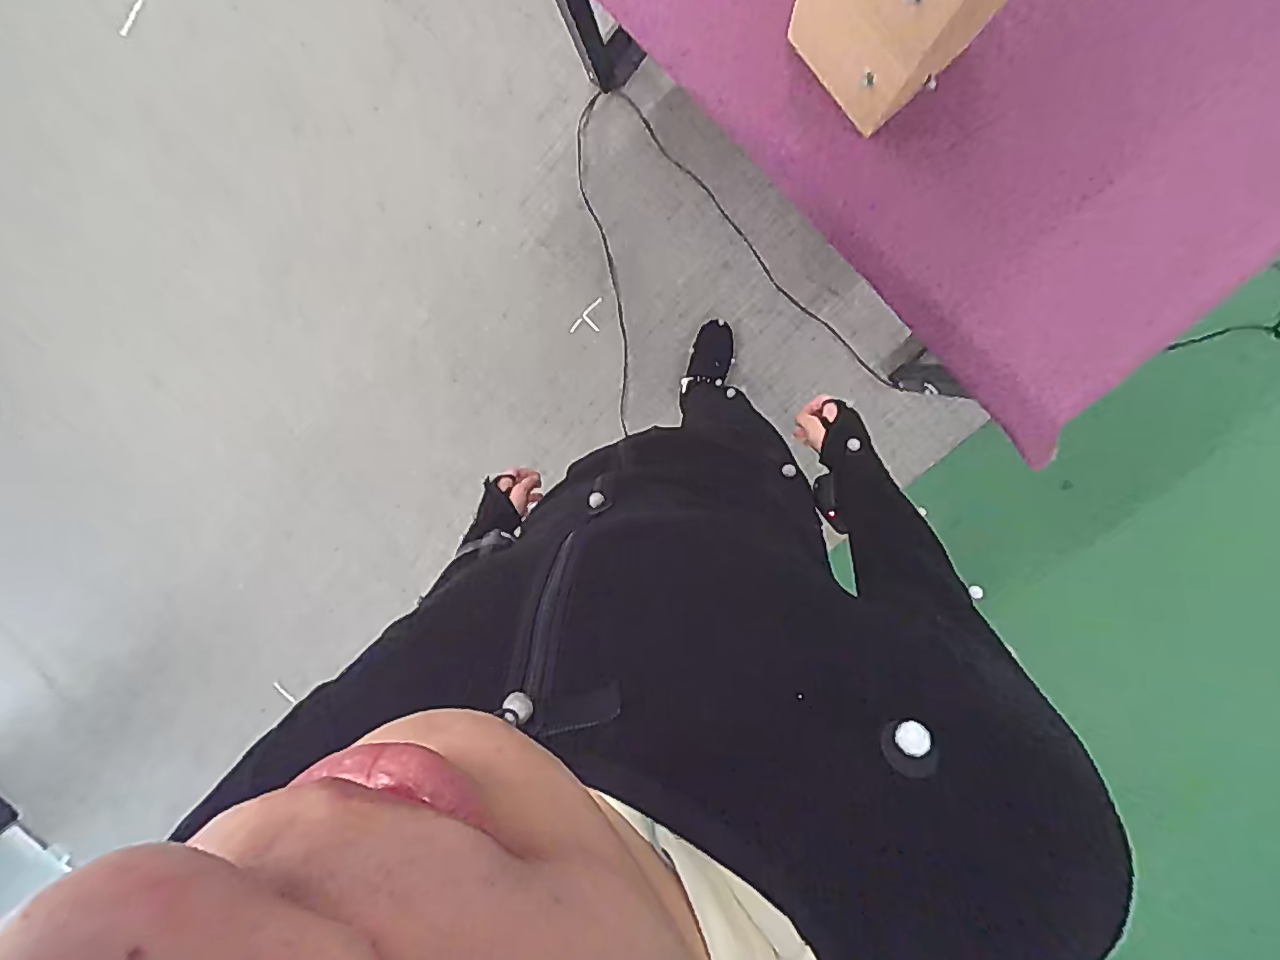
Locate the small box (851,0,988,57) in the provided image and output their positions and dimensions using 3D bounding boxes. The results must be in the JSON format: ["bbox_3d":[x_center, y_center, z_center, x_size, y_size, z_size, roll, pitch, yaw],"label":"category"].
[{"bbox_3d":[0.286,-0.534,0.484,0.168,0.176,0.179,-40,94,13],"label":"small box"}]
